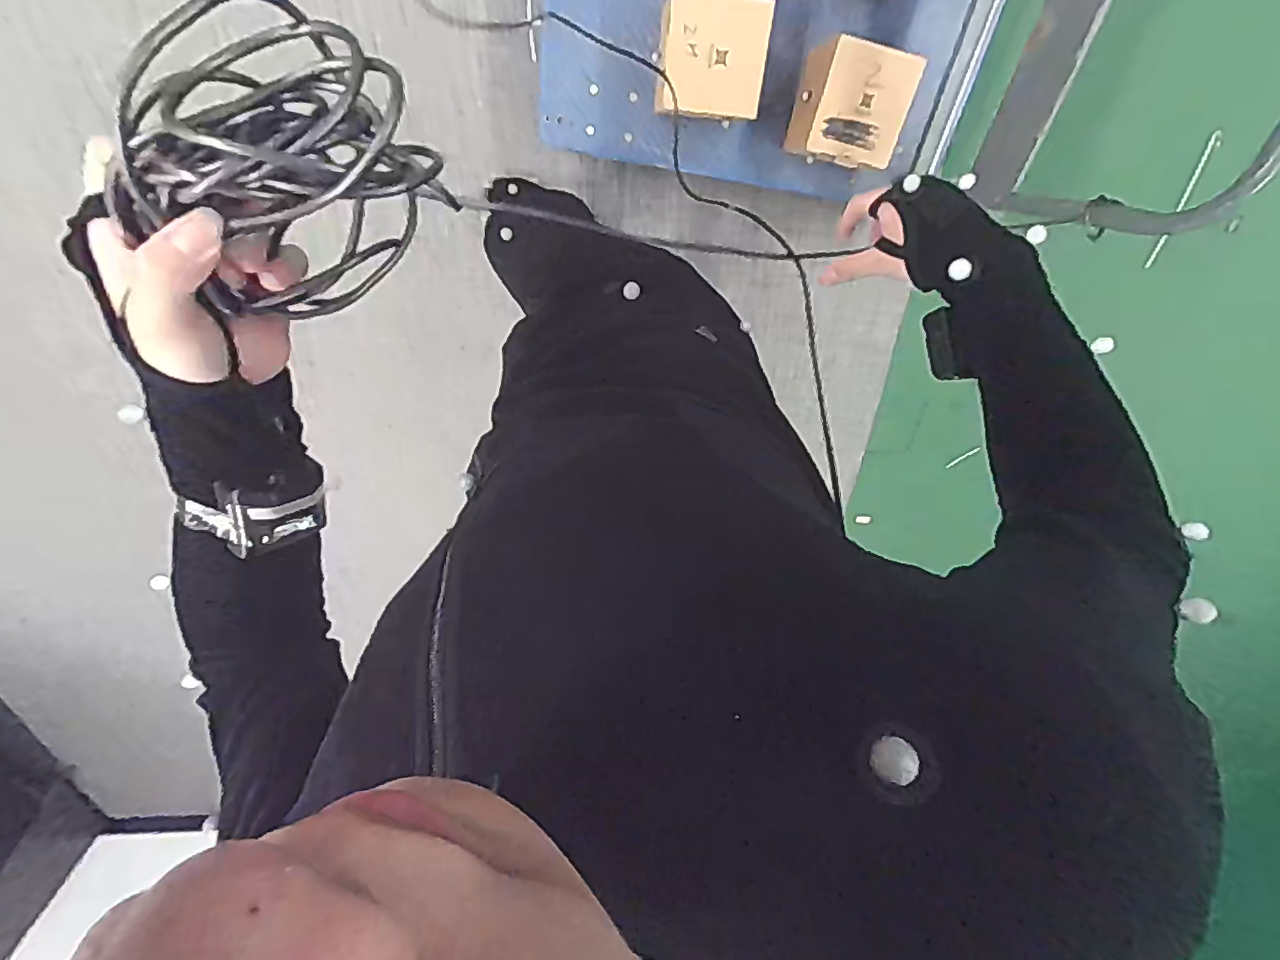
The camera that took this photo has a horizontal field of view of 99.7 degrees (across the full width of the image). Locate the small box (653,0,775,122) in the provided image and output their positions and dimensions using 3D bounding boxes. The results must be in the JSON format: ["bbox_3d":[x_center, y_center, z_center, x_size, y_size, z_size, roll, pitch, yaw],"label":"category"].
[{"bbox_3d":[0.124,-0.762,0.987,0.179,0.176,0.168,3,122,-6],"label":"small box"}]
